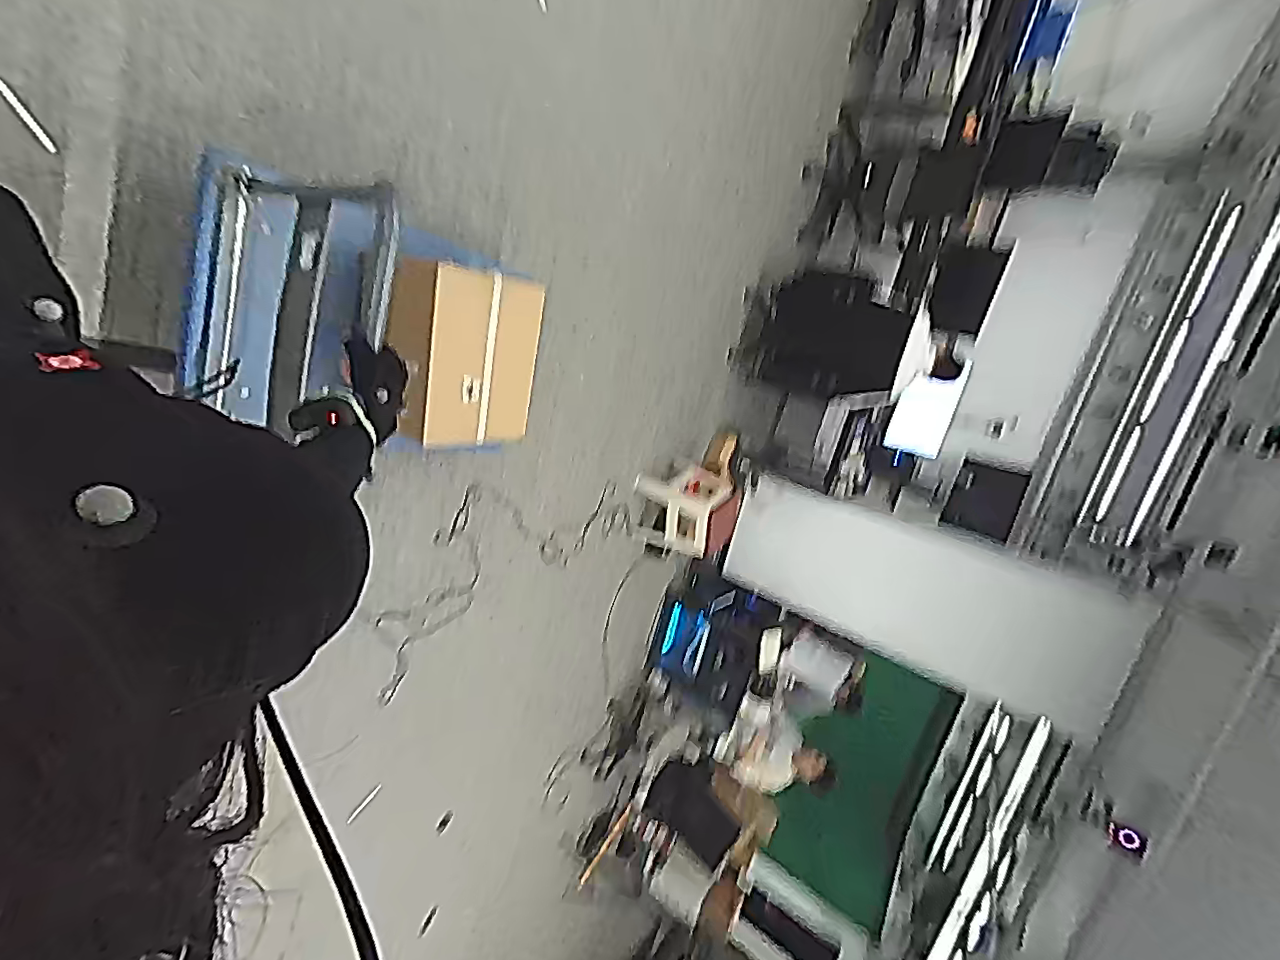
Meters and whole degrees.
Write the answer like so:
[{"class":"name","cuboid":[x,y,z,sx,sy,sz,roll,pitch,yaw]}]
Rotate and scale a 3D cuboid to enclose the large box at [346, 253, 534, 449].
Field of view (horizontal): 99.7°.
[{"class":"large box","cuboid":[-0.513,-0.324,1.379,0.320,0.320,0.408,-10,118,-54]}]
